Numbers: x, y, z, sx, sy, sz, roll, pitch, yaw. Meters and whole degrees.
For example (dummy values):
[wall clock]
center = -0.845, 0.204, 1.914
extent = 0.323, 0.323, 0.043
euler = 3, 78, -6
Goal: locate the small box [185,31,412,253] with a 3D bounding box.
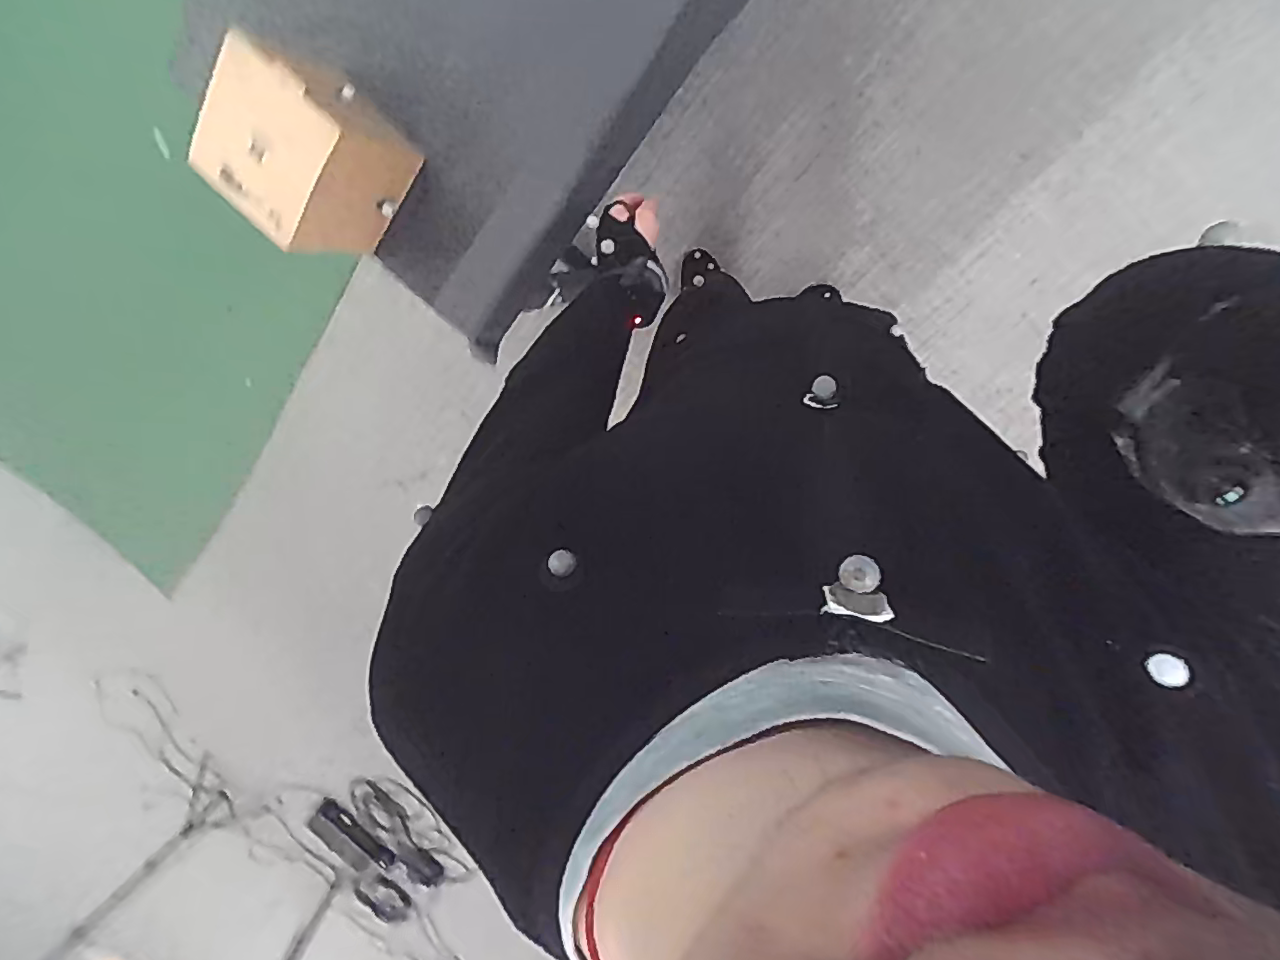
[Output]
[small box]
center = -0.443, -0.433, 0.729
extent = 0.168, 0.176, 0.179
euler = 44, 115, -5
